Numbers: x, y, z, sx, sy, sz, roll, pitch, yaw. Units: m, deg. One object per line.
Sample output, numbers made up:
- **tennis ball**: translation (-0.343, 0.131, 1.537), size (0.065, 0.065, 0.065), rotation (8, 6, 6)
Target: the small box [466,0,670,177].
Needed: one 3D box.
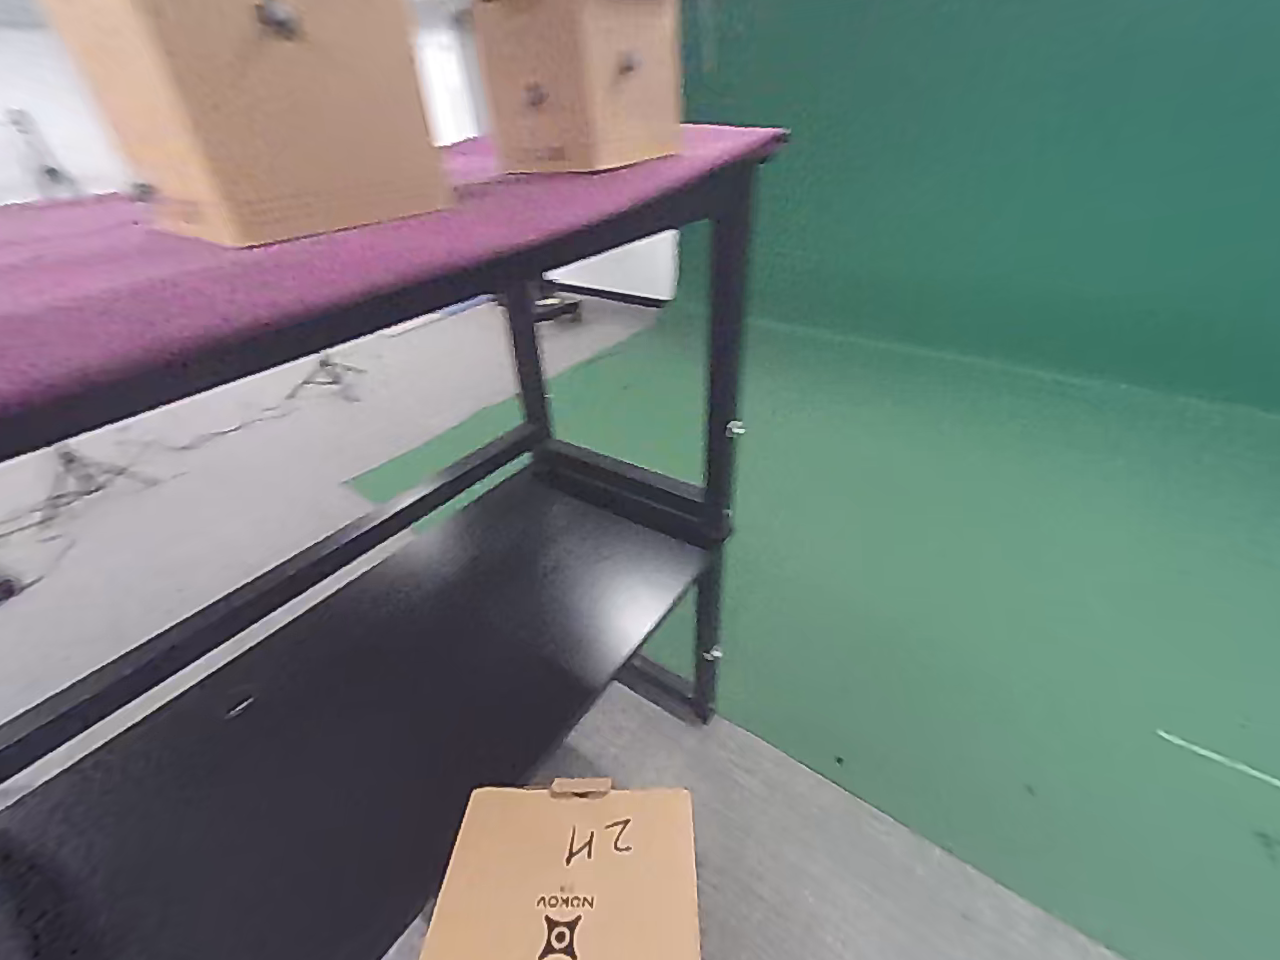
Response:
- **small box**: translation (-0.074, -0.477, 0.661), size (0.168, 0.176, 0.179), rotation (19, 43, 31)
